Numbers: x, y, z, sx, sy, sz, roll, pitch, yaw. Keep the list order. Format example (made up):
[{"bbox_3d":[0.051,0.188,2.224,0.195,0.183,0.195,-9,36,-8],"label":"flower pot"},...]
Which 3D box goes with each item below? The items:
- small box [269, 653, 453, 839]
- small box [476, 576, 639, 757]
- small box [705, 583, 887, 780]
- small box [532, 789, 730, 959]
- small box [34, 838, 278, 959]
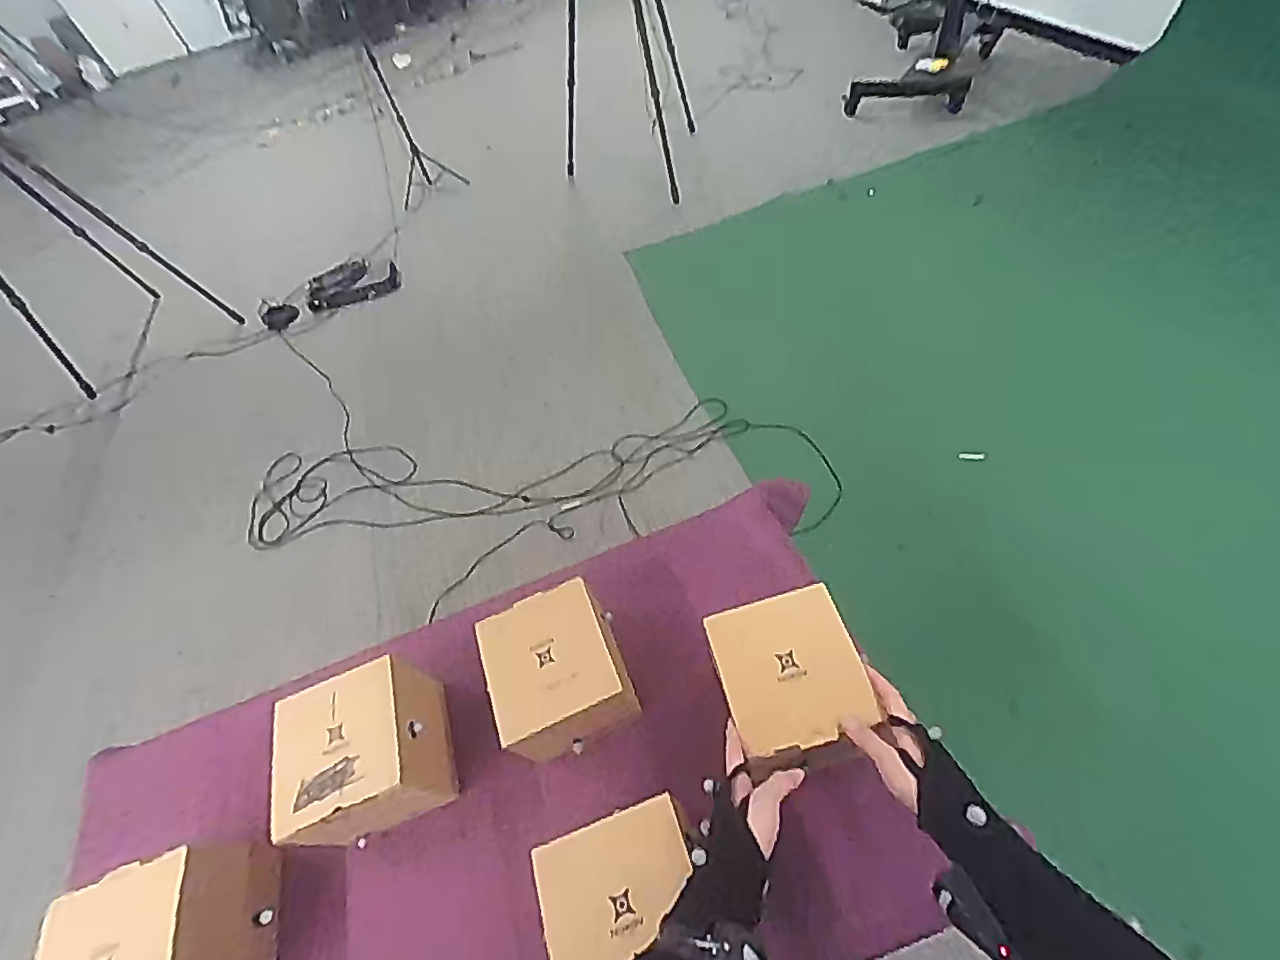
[{"bbox_3d":[-0.381,0.377,0.761,0.168,0.176,0.179,-22,53,-5],"label":"small box"},{"bbox_3d":[-0.115,0.274,0.785,0.168,0.176,0.179,-24,56,-5],"label":"small box"},{"bbox_3d":[0.191,0.266,0.706,0.168,0.176,0.179,-17,52,2],"label":"small box"},{"bbox_3d":[-0.006,0.483,0.612,0.168,0.176,0.179,-20,53,-3],"label":"small box"},{"bbox_3d":[-0.581,0.570,0.662,0.168,0.176,0.179,-22,54,-3],"label":"small box"}]
